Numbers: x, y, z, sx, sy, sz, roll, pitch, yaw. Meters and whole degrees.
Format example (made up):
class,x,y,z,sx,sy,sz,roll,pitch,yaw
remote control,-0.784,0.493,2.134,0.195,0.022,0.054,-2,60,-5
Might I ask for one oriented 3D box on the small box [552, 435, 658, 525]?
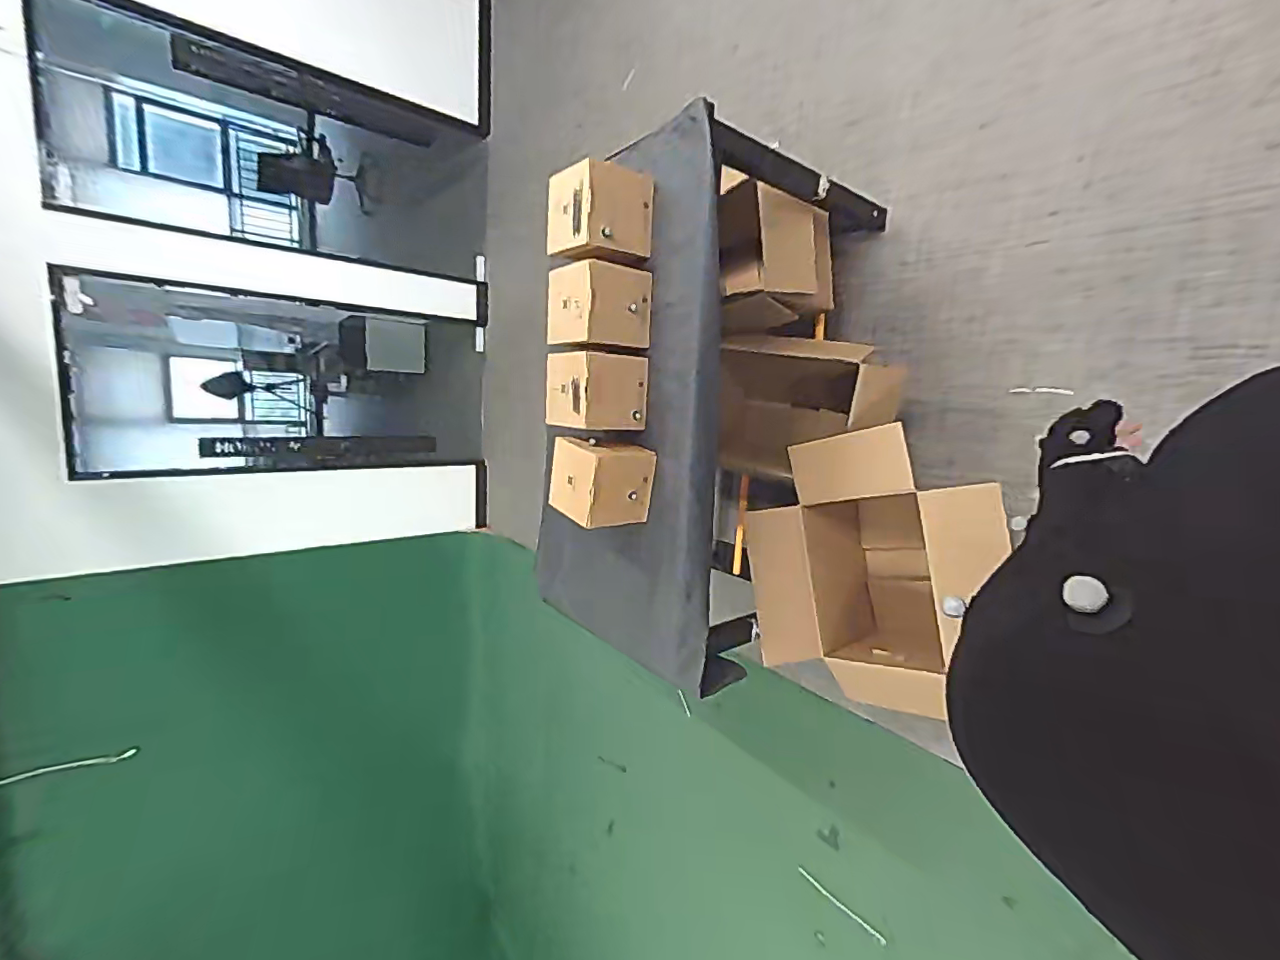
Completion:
class,x,y,z,sx,sy,sz,roll,pitch,yaw
small box,-0.083,-0.004,1.256,0.179,0.176,0.168,25,112,48
